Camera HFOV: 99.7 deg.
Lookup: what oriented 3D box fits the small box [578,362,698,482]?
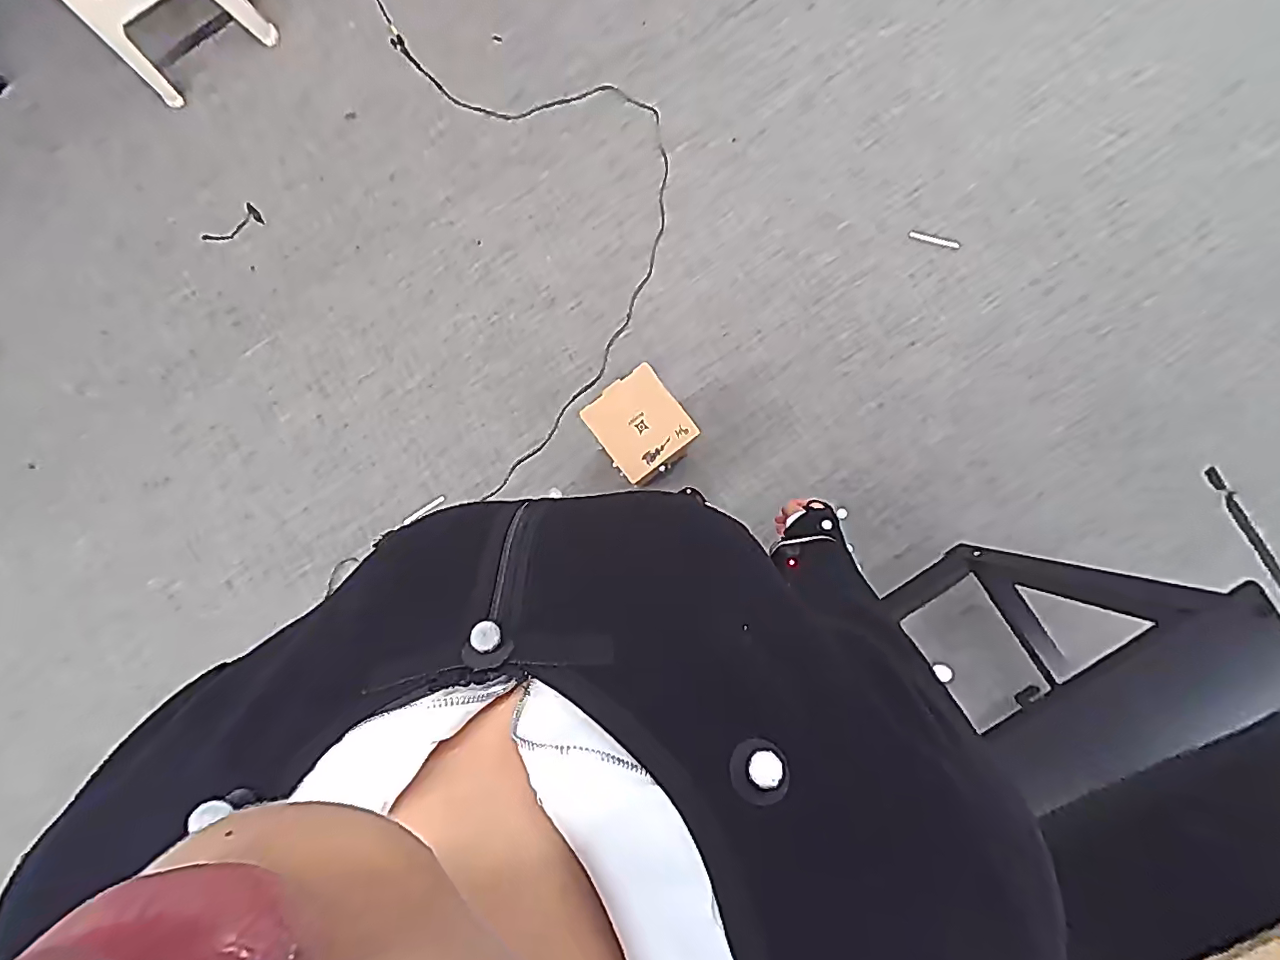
[{"bbox_3d":[-0.002,-0.107,1.104,0.168,0.176,0.179,-37,88,1],"label":"small box"}]
